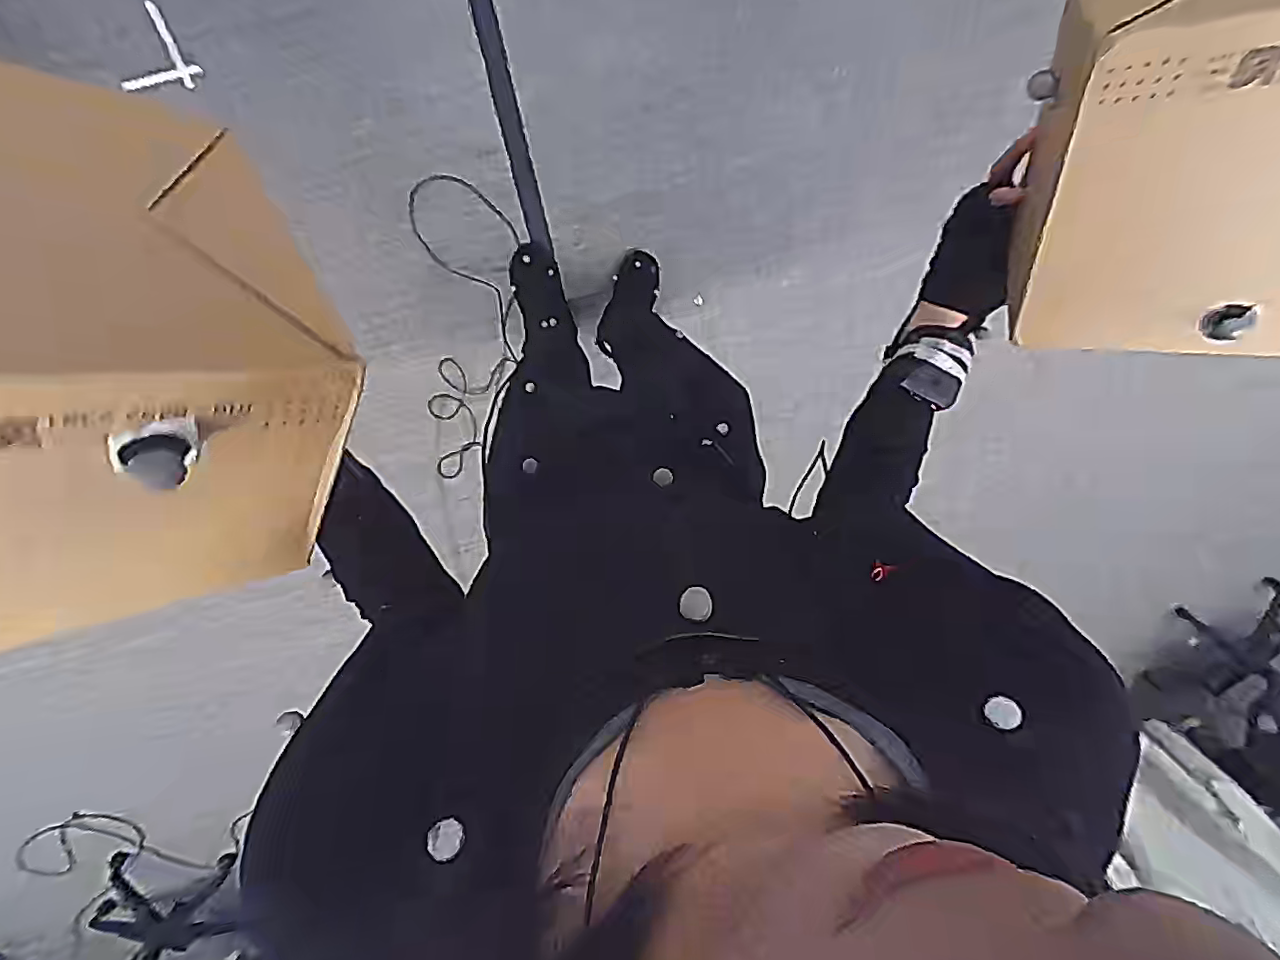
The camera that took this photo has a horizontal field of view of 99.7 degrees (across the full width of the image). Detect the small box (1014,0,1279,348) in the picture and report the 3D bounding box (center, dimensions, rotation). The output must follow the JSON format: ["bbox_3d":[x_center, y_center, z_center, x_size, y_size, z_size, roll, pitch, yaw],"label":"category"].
[{"bbox_3d":[0.329,-0.196,0.304,0.168,0.179,0.176,10,140,27],"label":"small box"}]

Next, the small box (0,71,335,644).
[{"bbox_3d":[-0.255,-0.053,0.233,0.168,0.179,0.176,-15,152,-46],"label":"small box"}]
